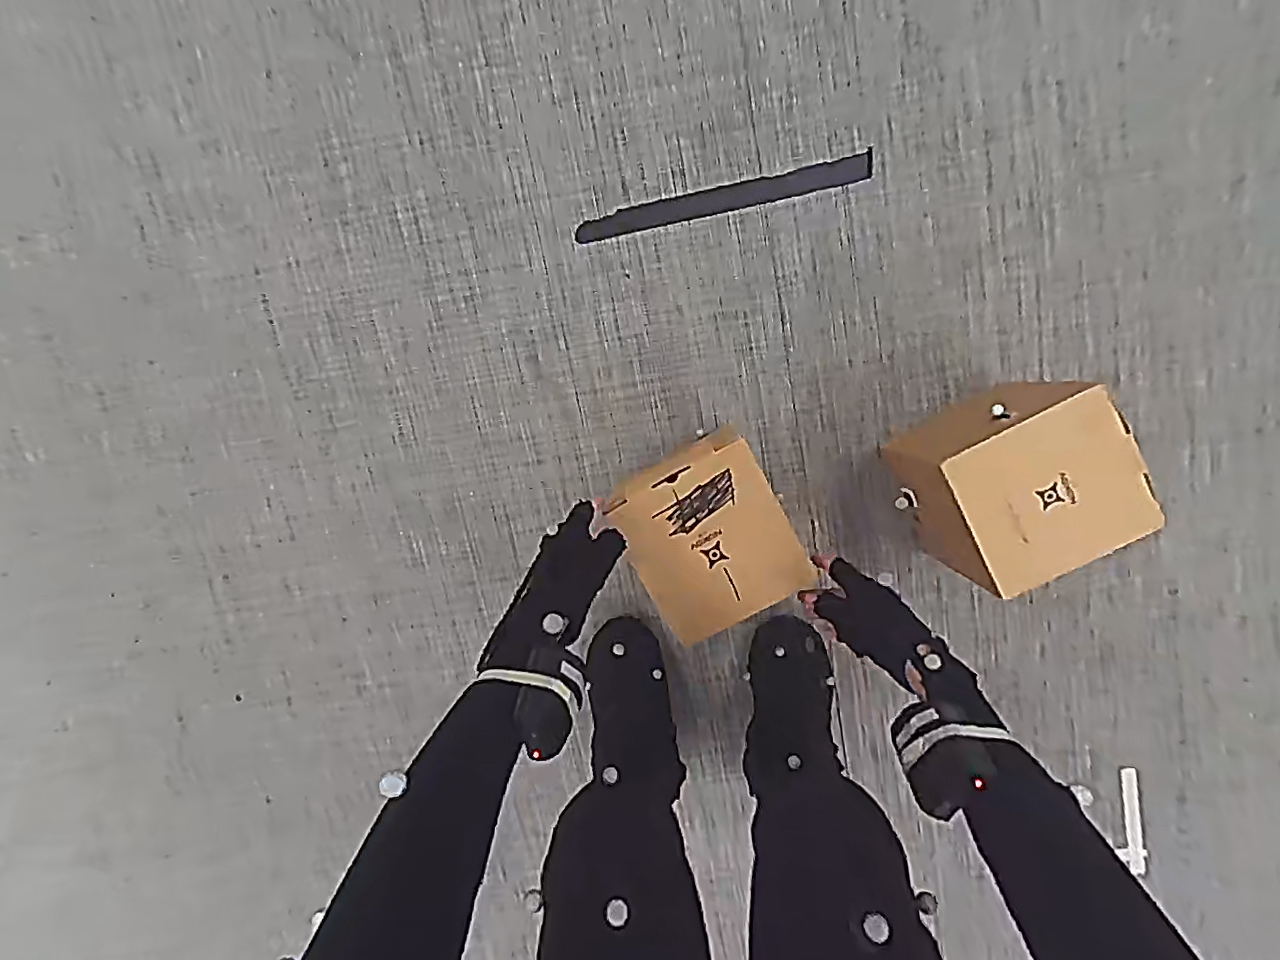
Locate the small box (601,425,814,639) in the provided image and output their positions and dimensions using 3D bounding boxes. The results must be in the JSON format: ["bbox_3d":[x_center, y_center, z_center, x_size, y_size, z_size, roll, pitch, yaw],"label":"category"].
[{"bbox_3d":[0.072,0.047,0.637,0.168,0.176,0.179,-30,97,7],"label":"small box"}]

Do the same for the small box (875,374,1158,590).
[{"bbox_3d":[0.408,-0.008,0.618,0.179,0.176,0.168,-29,96,7],"label":"small box"}]
